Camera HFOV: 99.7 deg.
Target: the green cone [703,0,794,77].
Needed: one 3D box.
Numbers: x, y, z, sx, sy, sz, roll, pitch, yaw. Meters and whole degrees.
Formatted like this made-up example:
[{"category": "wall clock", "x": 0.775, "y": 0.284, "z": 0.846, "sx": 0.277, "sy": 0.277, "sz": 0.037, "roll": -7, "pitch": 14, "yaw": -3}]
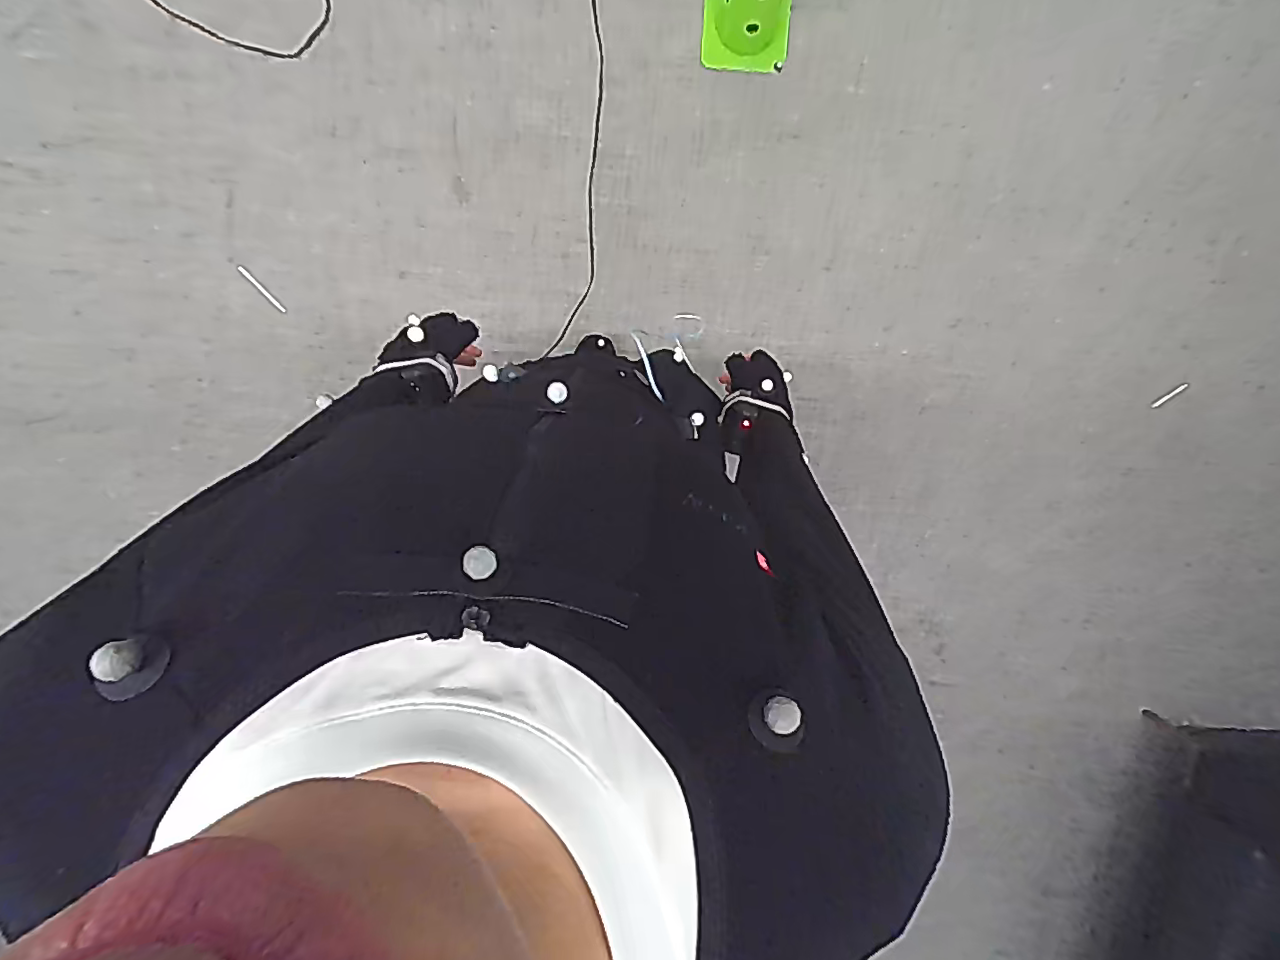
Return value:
[{"category": "green cone", "x": 0.251, "y": -1.013, "z": 1.083, "sx": 0.202, "sy": 0.368, "sz": 0.200, "roll": 3, "pitch": 102, "yaw": -1}]
